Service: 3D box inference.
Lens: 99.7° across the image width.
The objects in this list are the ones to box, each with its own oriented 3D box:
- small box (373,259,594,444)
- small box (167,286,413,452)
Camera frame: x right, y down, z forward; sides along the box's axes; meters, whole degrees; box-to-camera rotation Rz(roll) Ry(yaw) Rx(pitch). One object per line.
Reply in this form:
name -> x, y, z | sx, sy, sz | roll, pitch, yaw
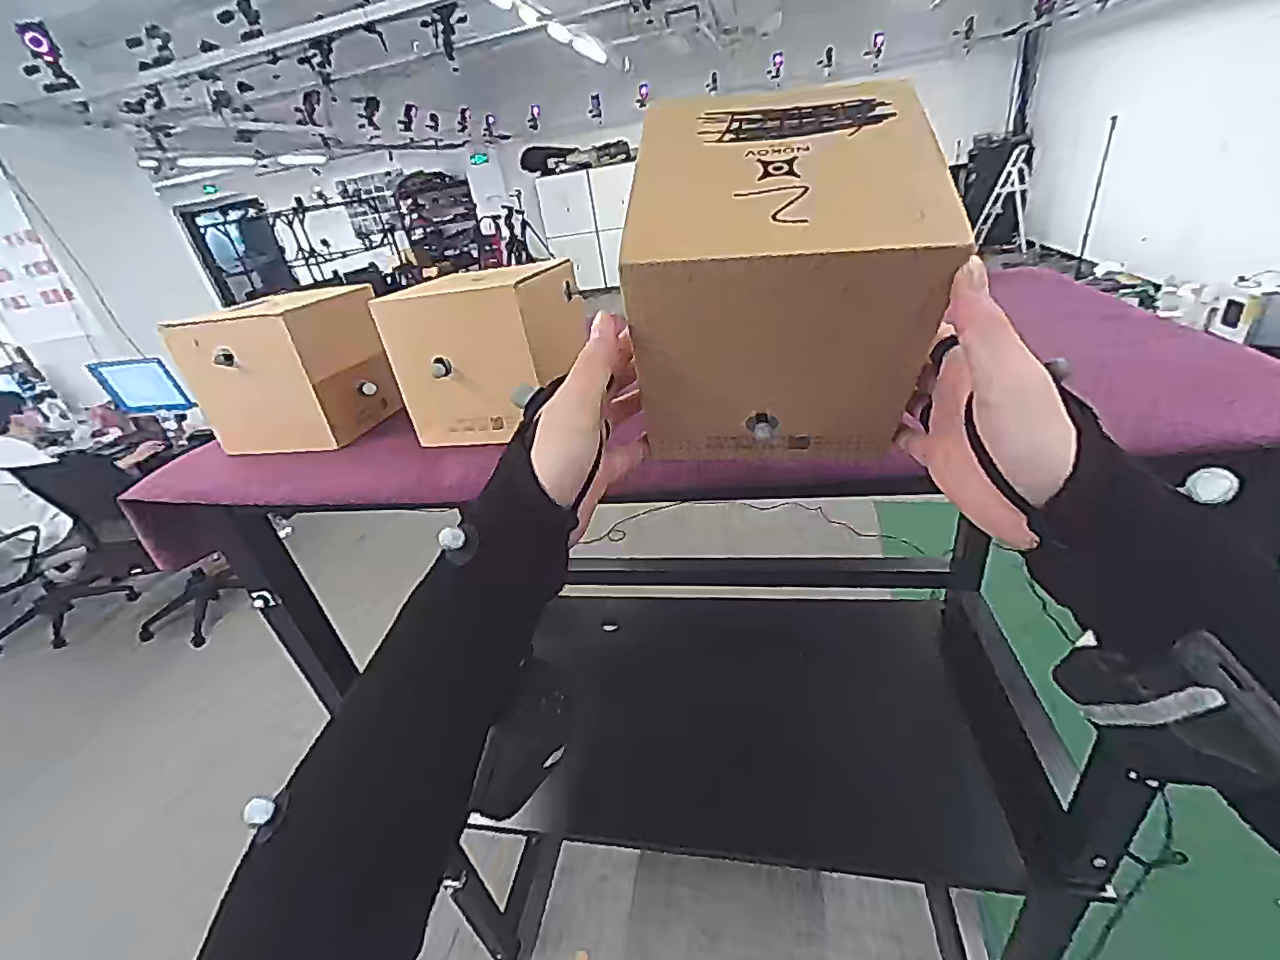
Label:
small box -> -0.163, -0.147, 0.633 | 0.168, 0.176, 0.179 | -2, 28, 15
small box -> -0.436, -0.143, 0.705 | 0.179, 0.176, 0.168 | -1, 29, 14
